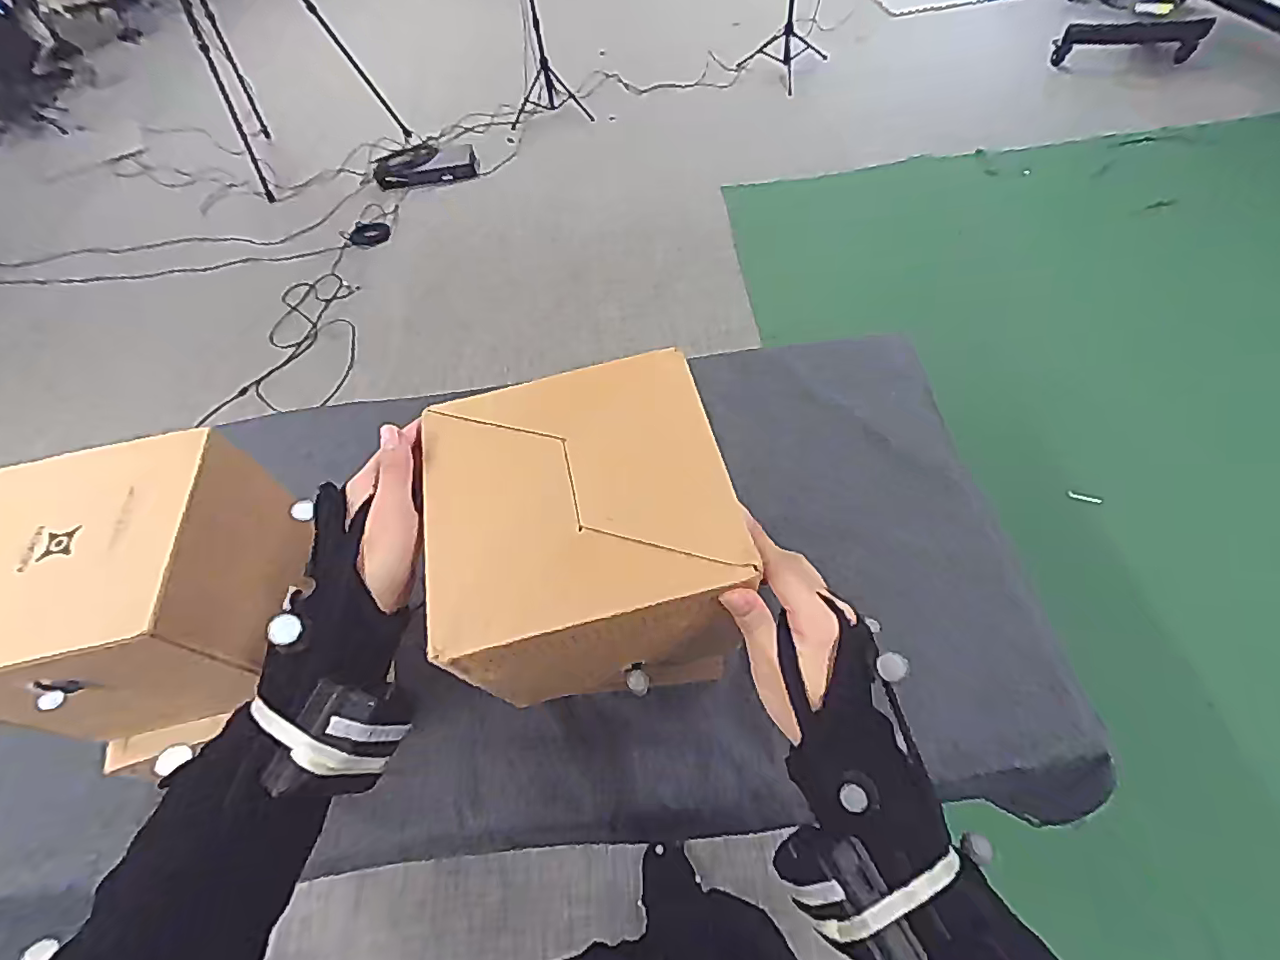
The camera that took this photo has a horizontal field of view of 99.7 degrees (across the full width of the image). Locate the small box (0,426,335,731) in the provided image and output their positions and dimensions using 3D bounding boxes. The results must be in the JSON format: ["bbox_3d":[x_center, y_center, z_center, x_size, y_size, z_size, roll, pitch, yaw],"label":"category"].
[{"bbox_3d":[-0.381,0.086,0.427,0.179,0.176,0.168,-11,57,-2],"label":"small box"}]

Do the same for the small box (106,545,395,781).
[{"bbox_3d":[-0.369,0.186,0.556,0.168,0.176,0.179,-16,57,-5],"label":"small box"}]

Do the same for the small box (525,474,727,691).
[{"bbox_3d":[-0.013,0.113,0.567,0.179,0.176,0.168,-7,56,1],"label":"small box"}]
